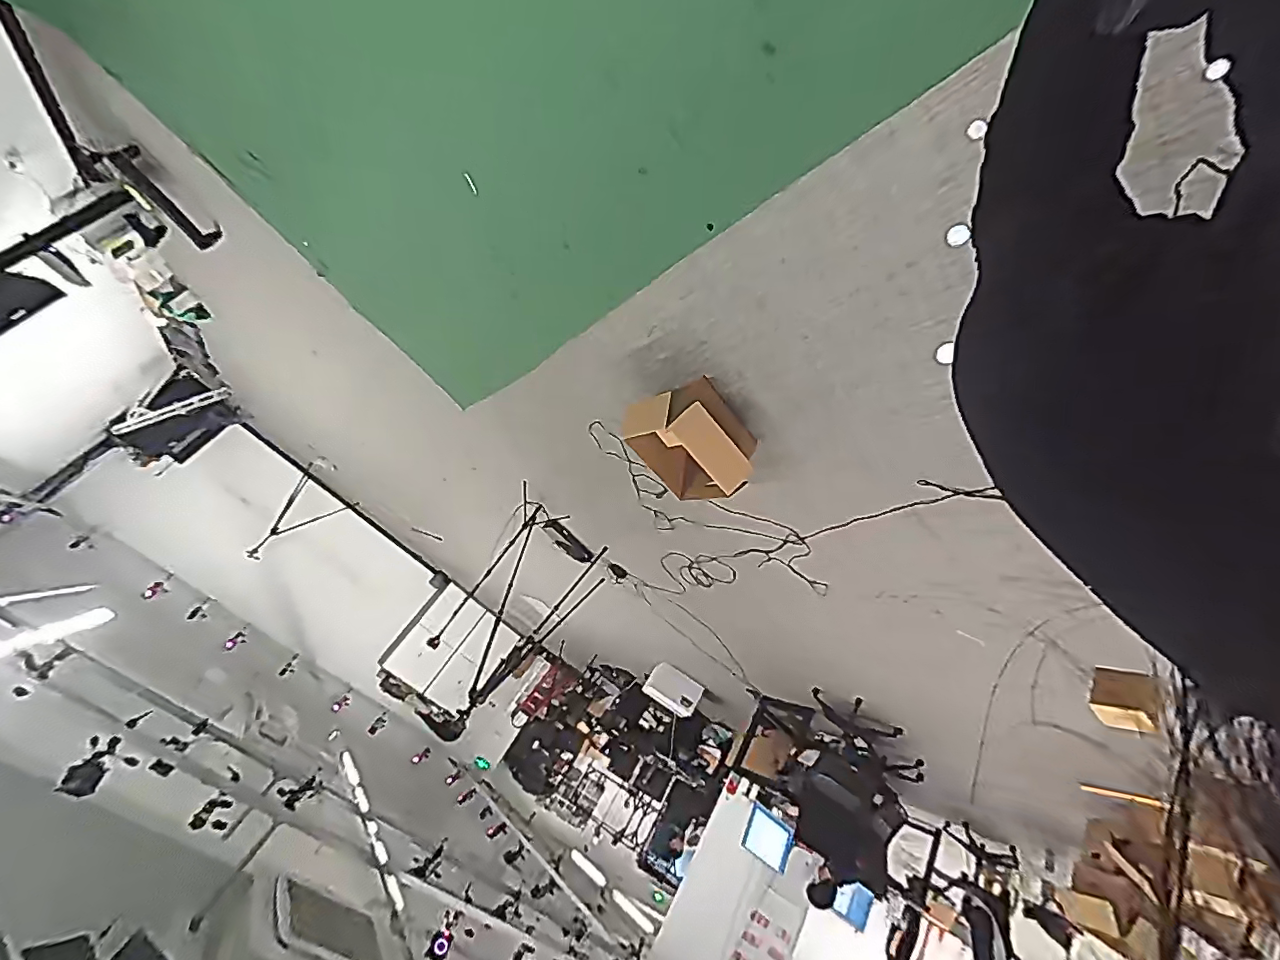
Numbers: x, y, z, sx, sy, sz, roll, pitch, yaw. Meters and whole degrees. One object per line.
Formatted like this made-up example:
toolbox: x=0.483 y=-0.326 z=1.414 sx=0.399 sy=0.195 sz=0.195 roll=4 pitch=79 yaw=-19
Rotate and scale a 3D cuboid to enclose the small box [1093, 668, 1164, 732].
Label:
small box: x=1.981 y=0.883 z=2.189 sx=0.168 sy=0.176 sz=0.179 roll=45 pitch=150 yaw=-19
